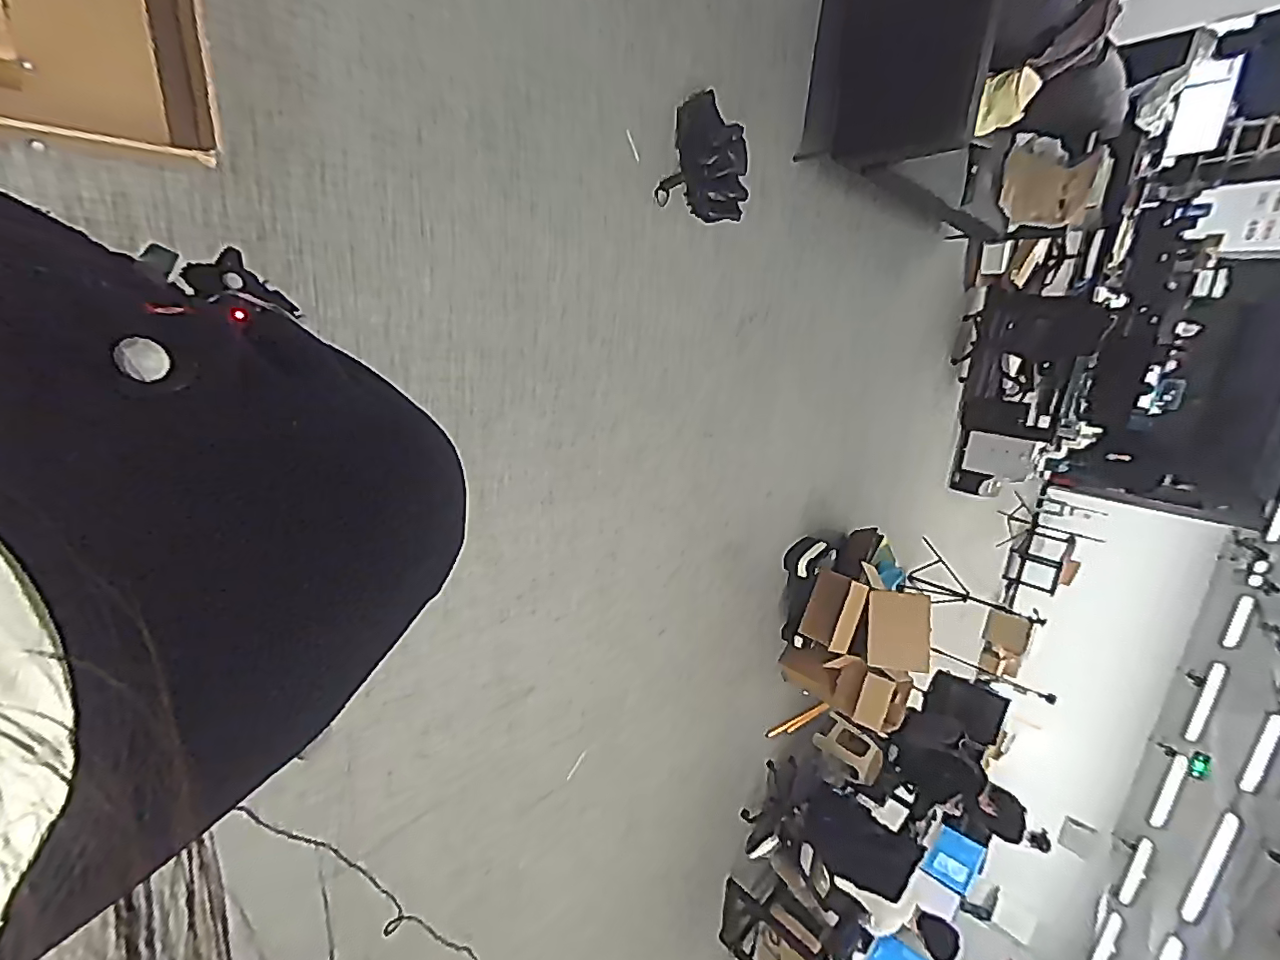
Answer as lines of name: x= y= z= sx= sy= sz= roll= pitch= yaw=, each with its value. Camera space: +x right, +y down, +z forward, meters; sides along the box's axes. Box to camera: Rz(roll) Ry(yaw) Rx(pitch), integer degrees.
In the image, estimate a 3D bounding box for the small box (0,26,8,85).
small box: x=-1.004 y=-0.670 z=0.733 sx=0.179 sy=0.176 sz=0.168 roll=-10 pitch=109 yaw=-43
